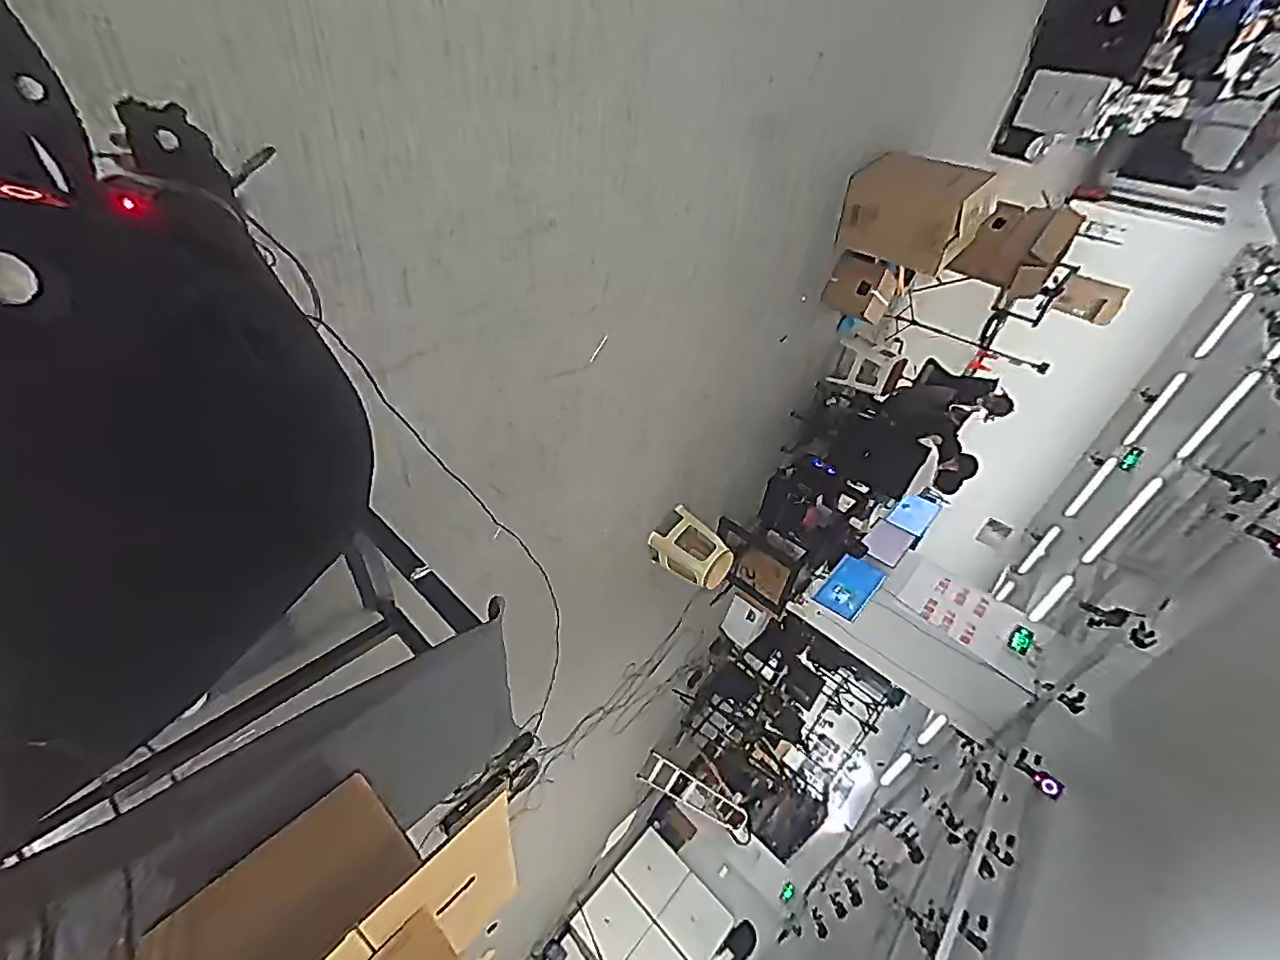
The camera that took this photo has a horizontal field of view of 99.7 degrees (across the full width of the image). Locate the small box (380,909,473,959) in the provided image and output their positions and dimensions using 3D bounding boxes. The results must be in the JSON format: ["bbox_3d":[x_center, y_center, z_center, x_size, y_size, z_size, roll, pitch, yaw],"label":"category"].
[{"bbox_3d":[-0.387,0.936,0.984,0.168,0.176,0.179,-33,143,-38],"label":"small box"}]
